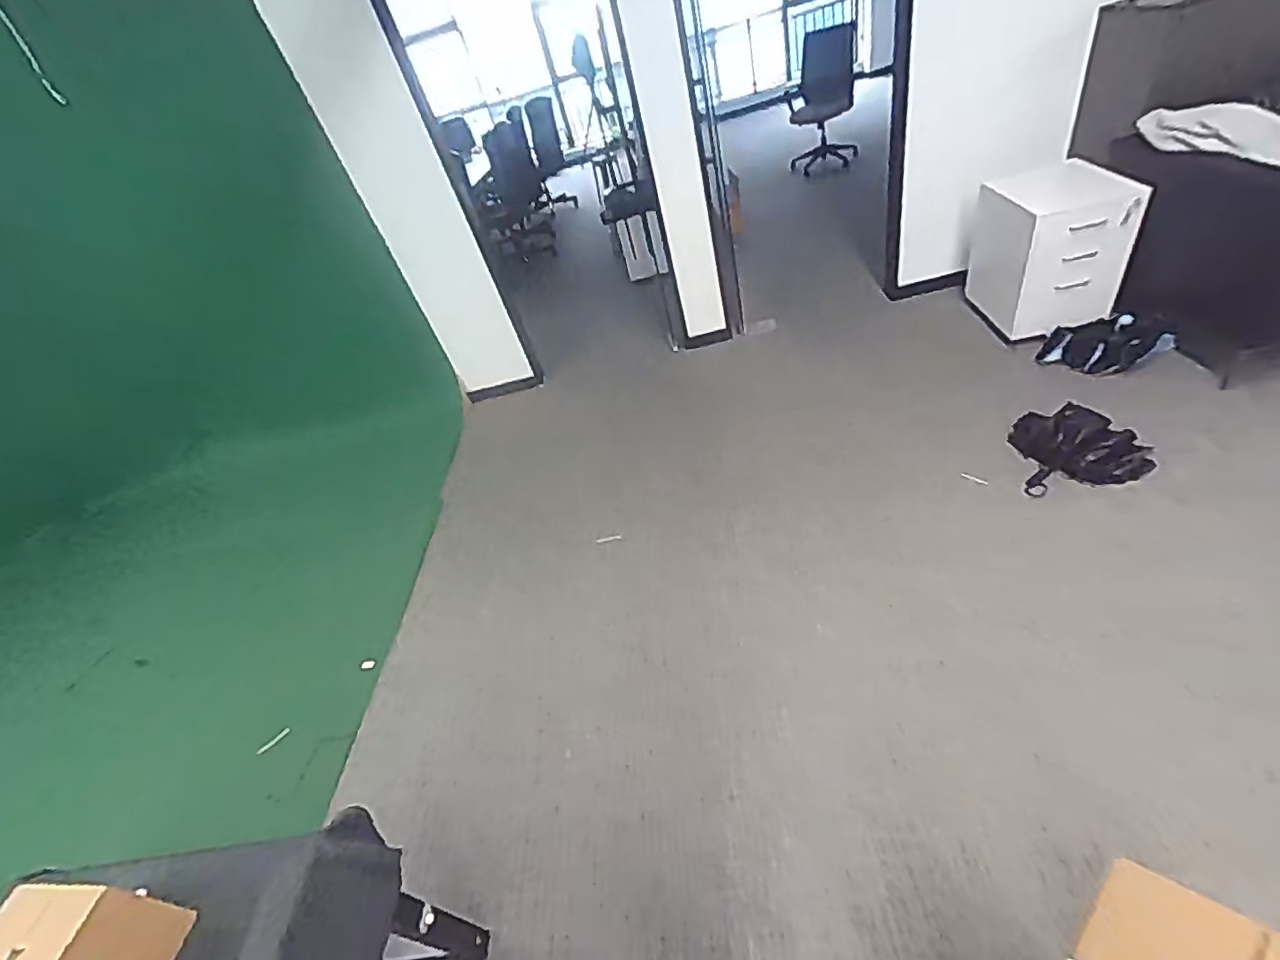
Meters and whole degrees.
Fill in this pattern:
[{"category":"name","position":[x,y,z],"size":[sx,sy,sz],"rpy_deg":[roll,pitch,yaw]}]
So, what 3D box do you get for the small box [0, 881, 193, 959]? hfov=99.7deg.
[{"category":"small box","position":[-0.784,0.679,0.741],"size":[0.168,0.176,0.179],"rpy_deg":[-8,40,12]}]
